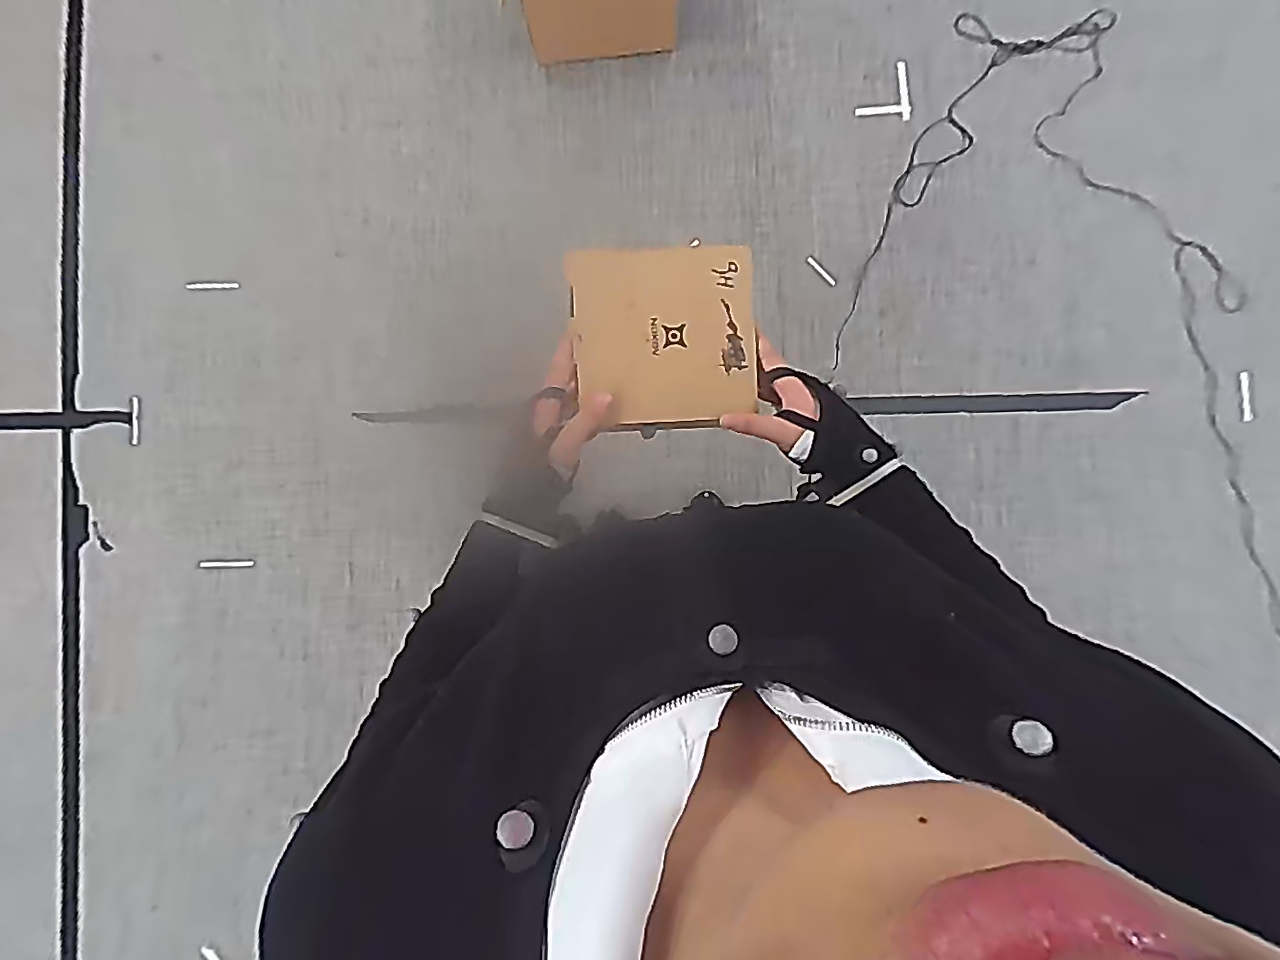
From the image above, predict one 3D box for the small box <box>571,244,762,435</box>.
[{"bbox_3d":[0.023,-0.138,0.584,0.179,0.176,0.168,-3,92,-2],"label":"small box"}]
